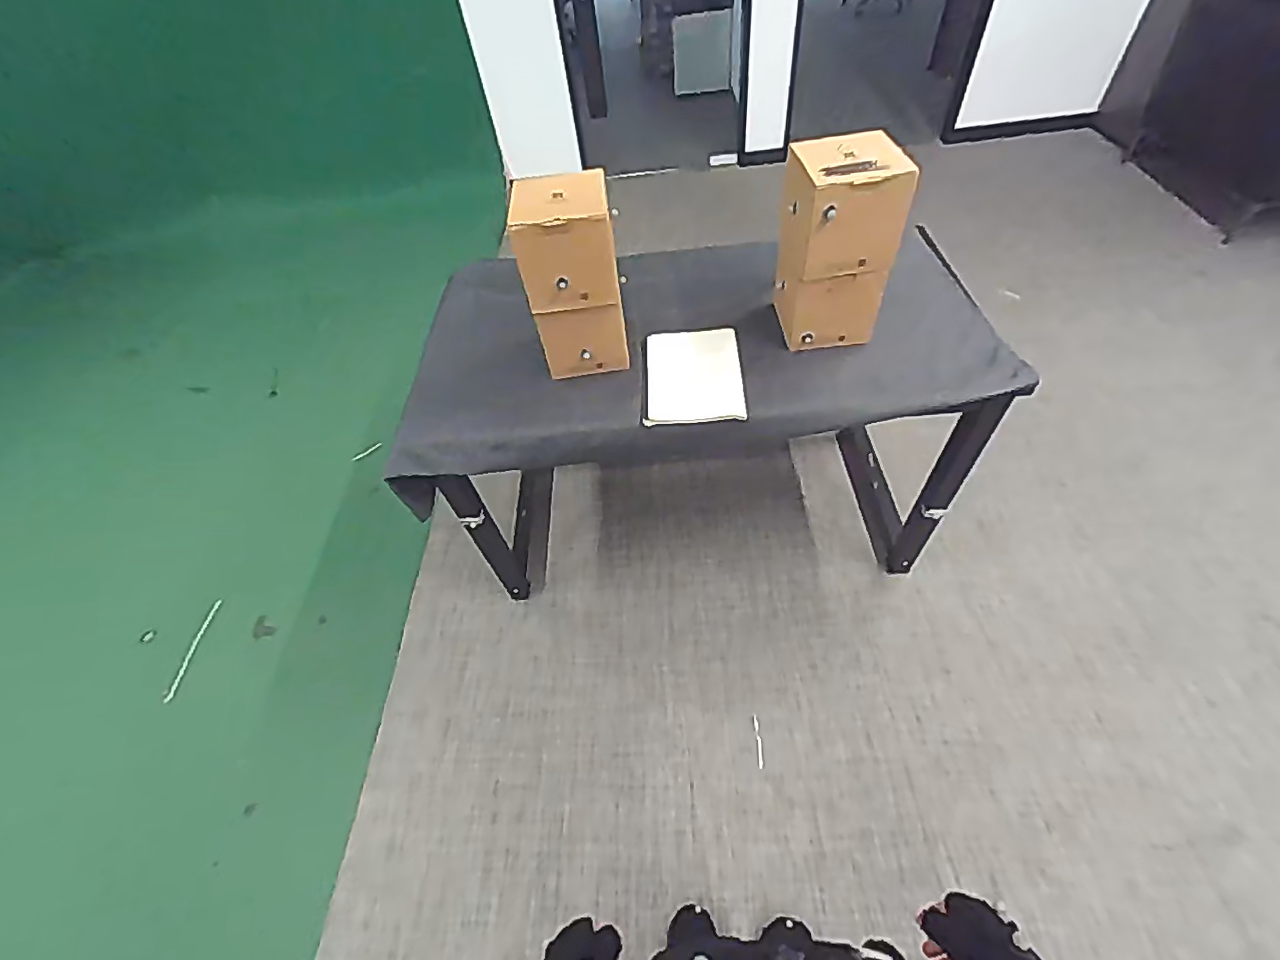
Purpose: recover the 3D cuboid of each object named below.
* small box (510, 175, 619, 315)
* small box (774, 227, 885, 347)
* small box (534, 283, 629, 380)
[{"bbox_3d":[-0.131,-0.428,0.990,0.168,0.176,0.179,-7,51,1],"label":"small box"},{"bbox_3d":[0.375,-0.386,1.104,0.168,0.176,0.179,-5,50,3],"label":"small box"},{"bbox_3d":[-0.118,-0.334,1.122,0.168,0.176,0.179,-8,51,1],"label":"small box"}]
